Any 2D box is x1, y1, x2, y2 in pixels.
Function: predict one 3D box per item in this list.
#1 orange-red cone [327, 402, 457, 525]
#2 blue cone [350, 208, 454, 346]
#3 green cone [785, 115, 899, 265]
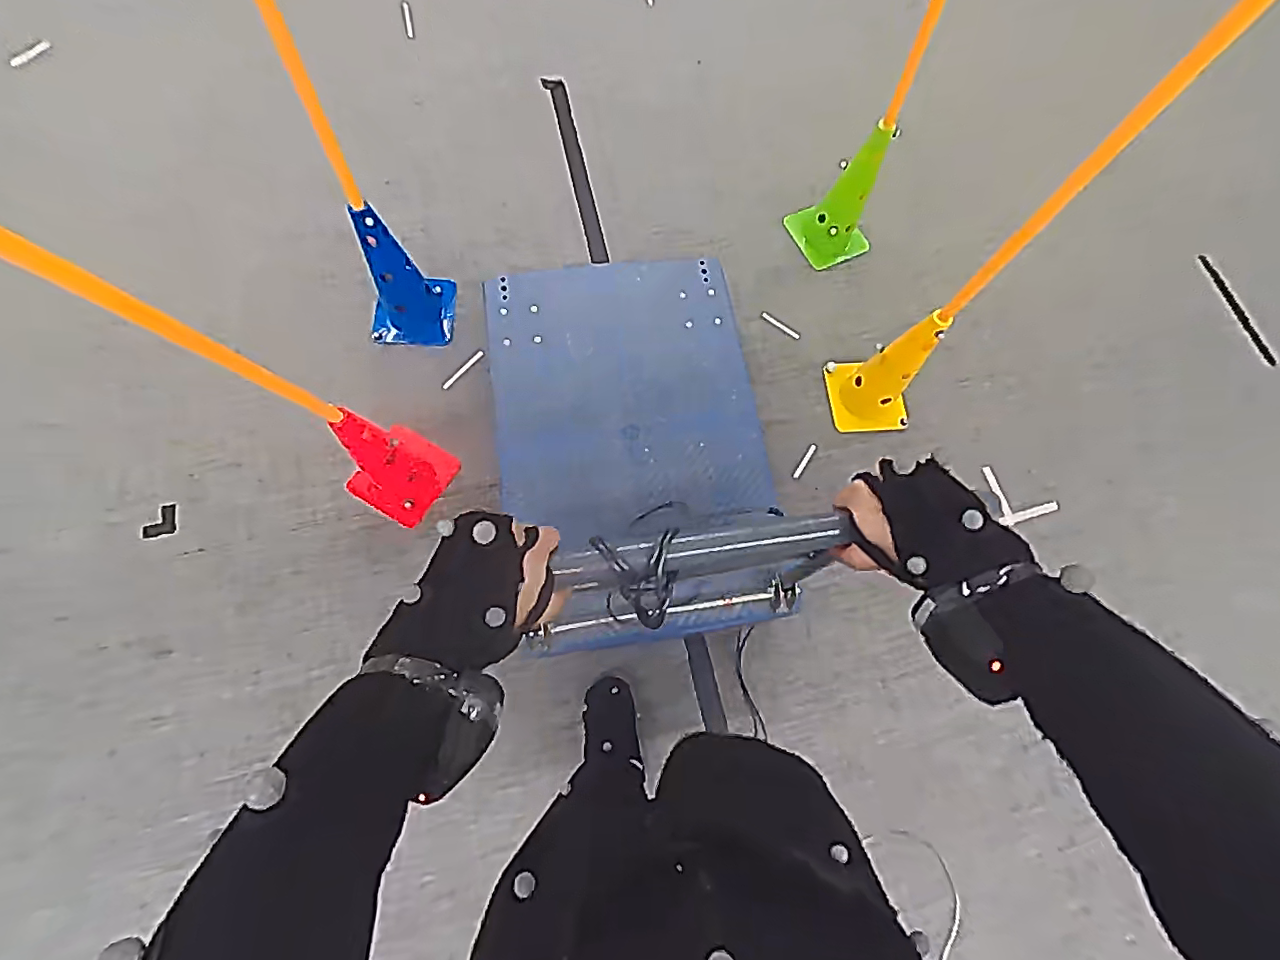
[{"bbox_3d":[-0.547,-0.068,1.114,0.198,0.360,0.199,31,72,5],"label":"orange-red cone"},{"bbox_3d":[-0.576,-0.486,1.259,0.193,0.380,0.192,2,73,-3],"label":"blue cone"},{"bbox_3d":[0.558,-0.779,1.414,0.200,0.368,0.202,-26,77,-11],"label":"green cone"}]
